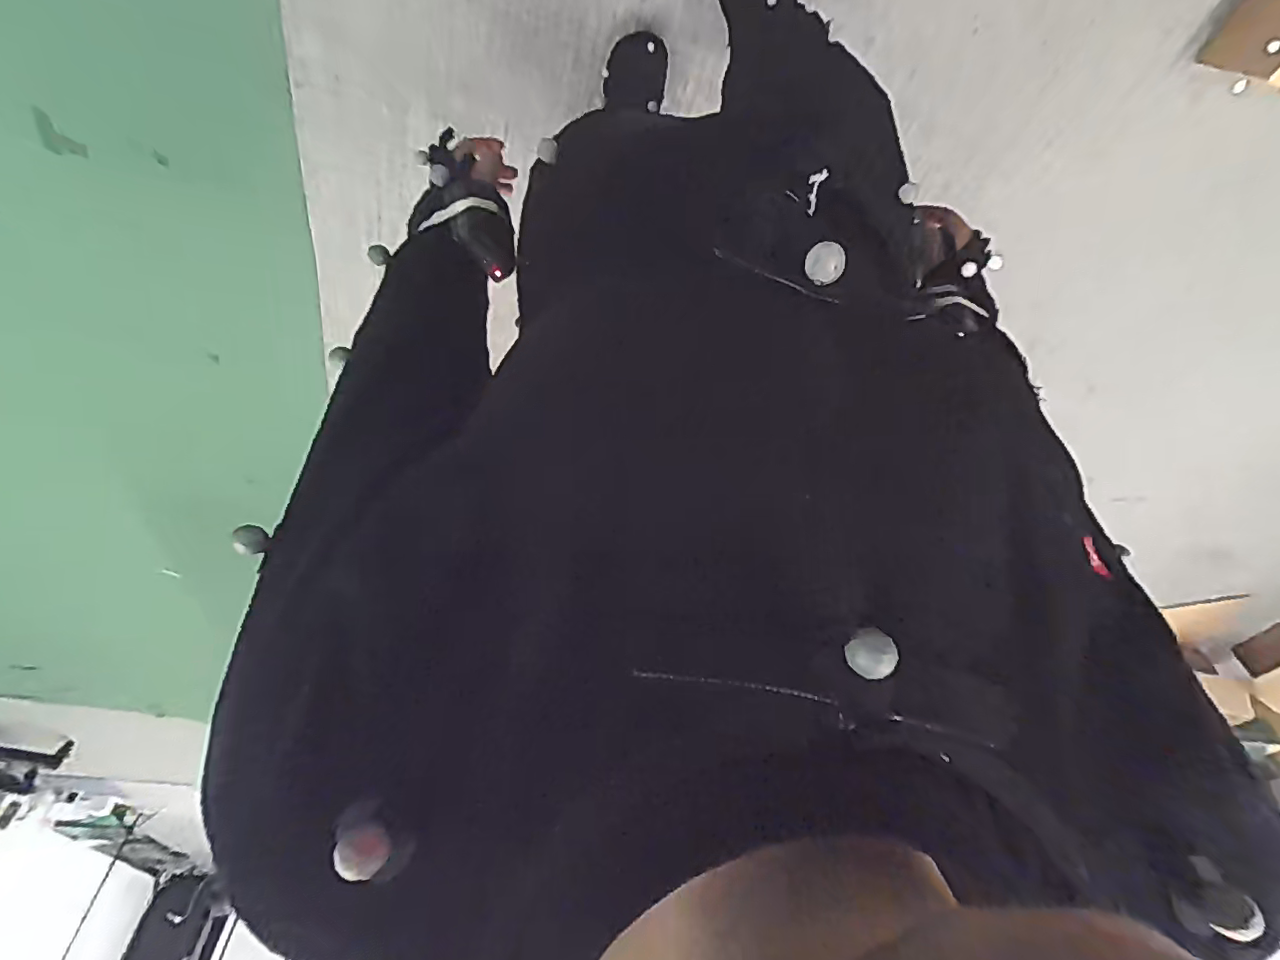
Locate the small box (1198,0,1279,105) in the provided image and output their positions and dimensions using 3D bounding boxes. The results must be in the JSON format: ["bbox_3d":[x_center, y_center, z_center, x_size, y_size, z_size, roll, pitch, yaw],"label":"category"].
[{"bbox_3d":[1.097,-0.730,0.877,0.168,0.176,0.179,11,135,-12],"label":"small box"}]
